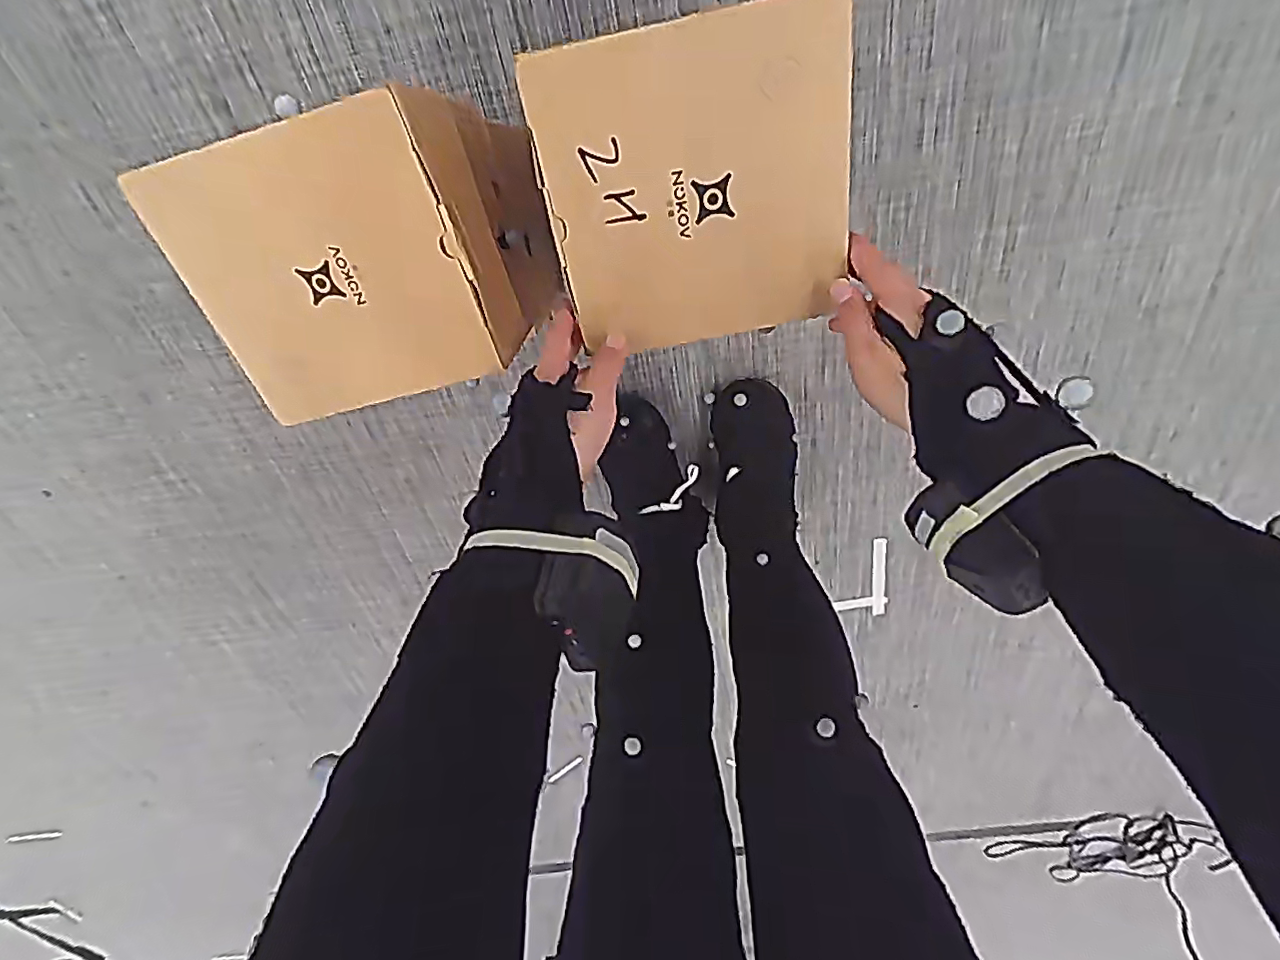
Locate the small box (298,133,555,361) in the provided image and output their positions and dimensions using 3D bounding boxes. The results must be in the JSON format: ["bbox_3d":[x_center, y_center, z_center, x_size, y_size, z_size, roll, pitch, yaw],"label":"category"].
[{"bbox_3d":[-0.190,-0.239,0.549,0.168,0.176,0.179,-7,121,4],"label":"small box"}]
